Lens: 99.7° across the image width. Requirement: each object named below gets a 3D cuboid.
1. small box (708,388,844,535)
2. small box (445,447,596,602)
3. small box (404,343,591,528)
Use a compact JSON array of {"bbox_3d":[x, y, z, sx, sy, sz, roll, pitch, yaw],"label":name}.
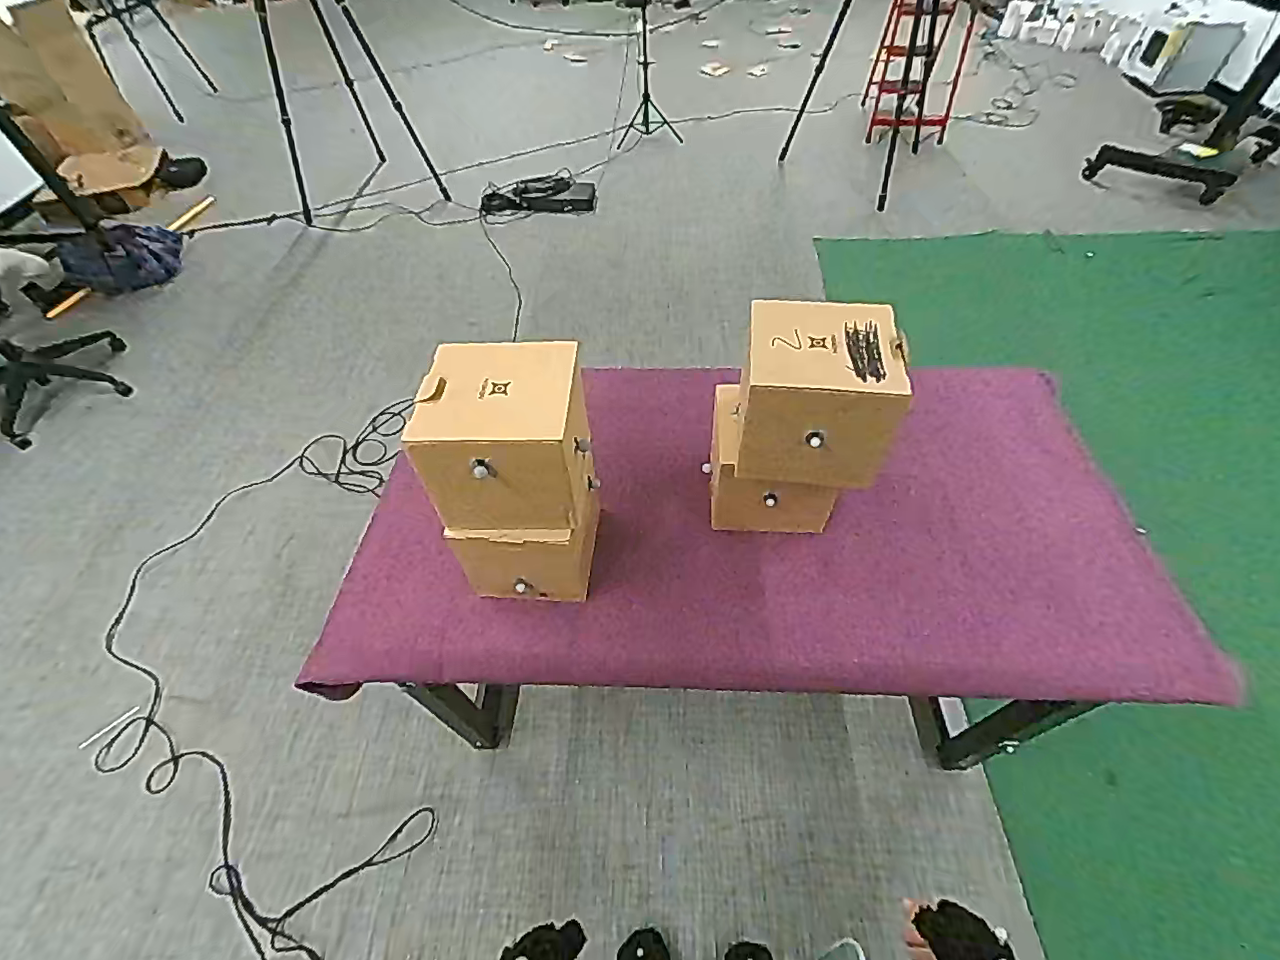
[{"bbox_3d":[0.202,-0.025,0.854,0.179,0.176,0.168,2,52,4],"label":"small box"},{"bbox_3d":[-0.160,0.058,0.798,0.168,0.176,0.179,4,52,5],"label":"small box"},{"bbox_3d":[-0.159,-0.051,0.678,0.179,0.176,0.168,0,52,2],"label":"small box"}]
